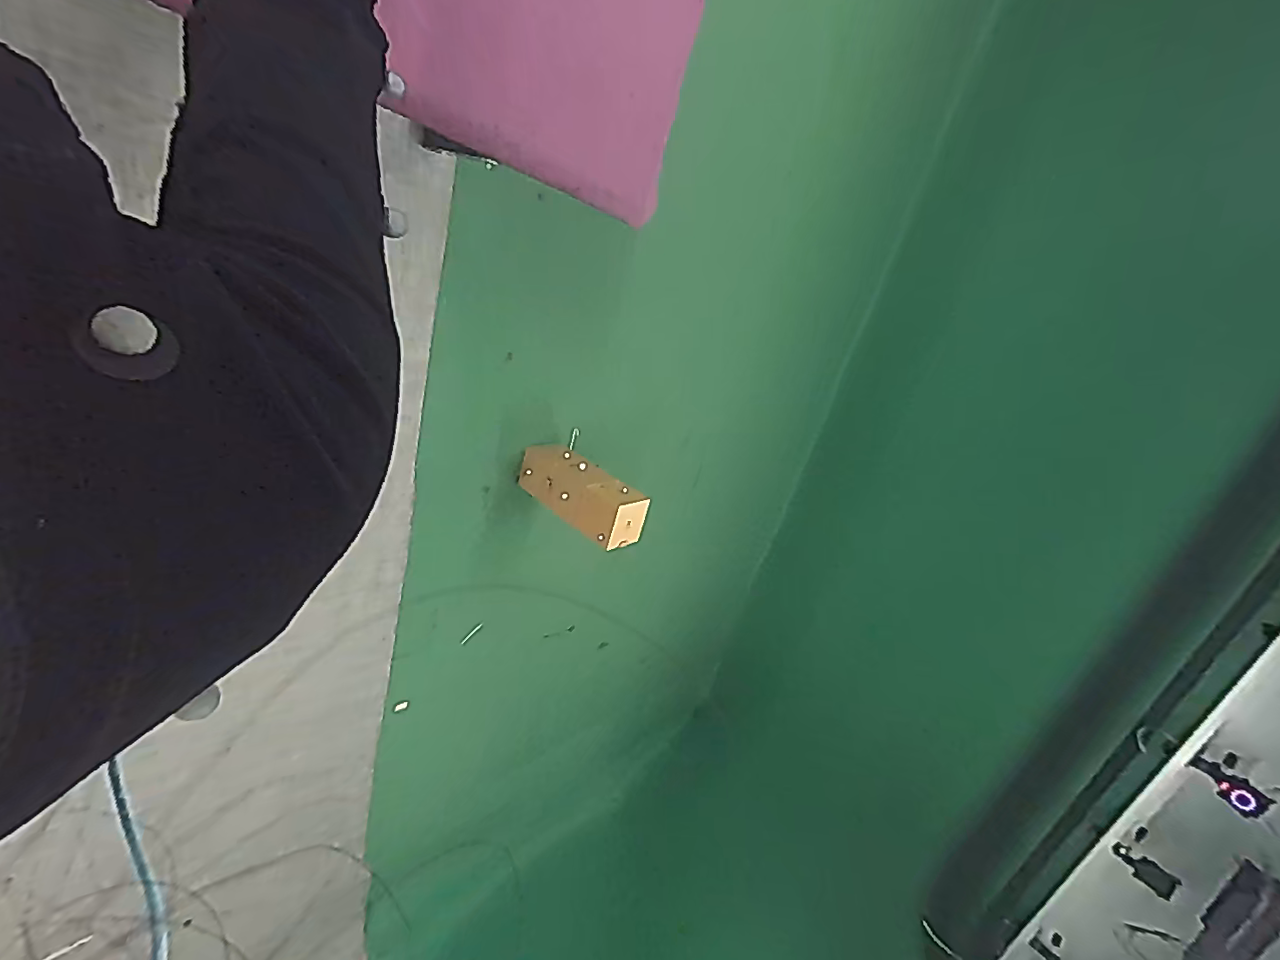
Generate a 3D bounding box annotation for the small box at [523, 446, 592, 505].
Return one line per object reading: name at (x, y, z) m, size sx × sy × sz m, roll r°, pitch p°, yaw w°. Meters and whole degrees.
small box at (-0.318, -0.023, 2.068) m, size 0.179 × 0.176 × 0.168 m, roll -9°, pitch 122°, yaw -48°

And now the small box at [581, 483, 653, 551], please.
small box at (-0.084, 0.120, 1.890) m, size 0.168 × 0.176 × 0.179 m, roll -10°, pitch 124°, yaw -48°

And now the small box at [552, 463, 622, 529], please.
small box at (-0.199, 0.054, 1.980) m, size 0.168 × 0.176 × 0.179 m, roll -8°, pitch 122°, yaw -51°
